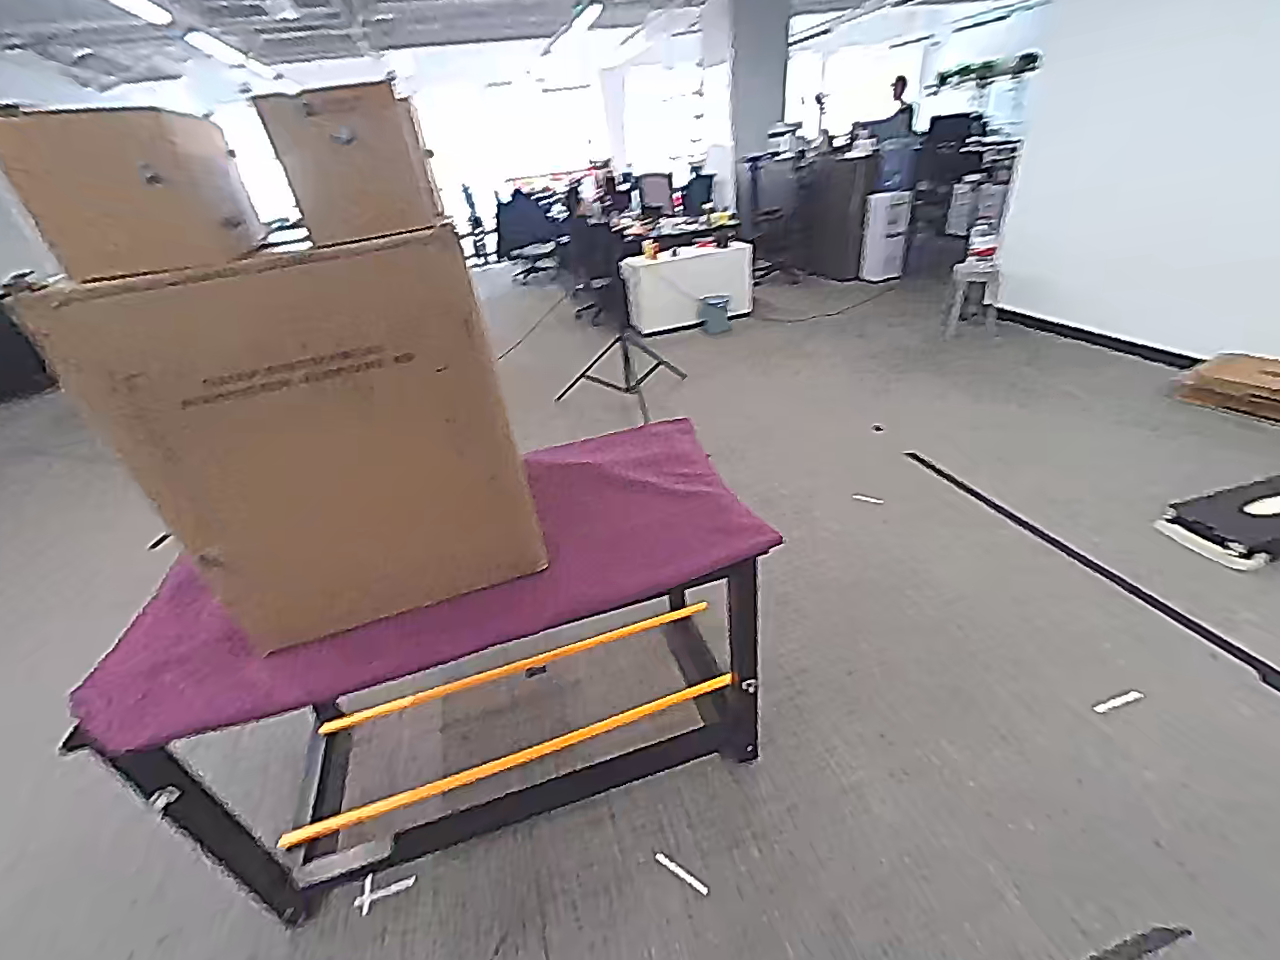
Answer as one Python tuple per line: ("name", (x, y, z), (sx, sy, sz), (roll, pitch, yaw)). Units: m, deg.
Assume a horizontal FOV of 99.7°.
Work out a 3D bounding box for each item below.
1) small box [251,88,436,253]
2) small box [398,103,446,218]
("small box", (-0.395, -0.427, 0.748), (0.168, 0.176, 0.179), (-18, 33, -13))
("small box", (-0.447, -0.531, 0.929), (0.179, 0.176, 0.168), (-14, 32, -8))
